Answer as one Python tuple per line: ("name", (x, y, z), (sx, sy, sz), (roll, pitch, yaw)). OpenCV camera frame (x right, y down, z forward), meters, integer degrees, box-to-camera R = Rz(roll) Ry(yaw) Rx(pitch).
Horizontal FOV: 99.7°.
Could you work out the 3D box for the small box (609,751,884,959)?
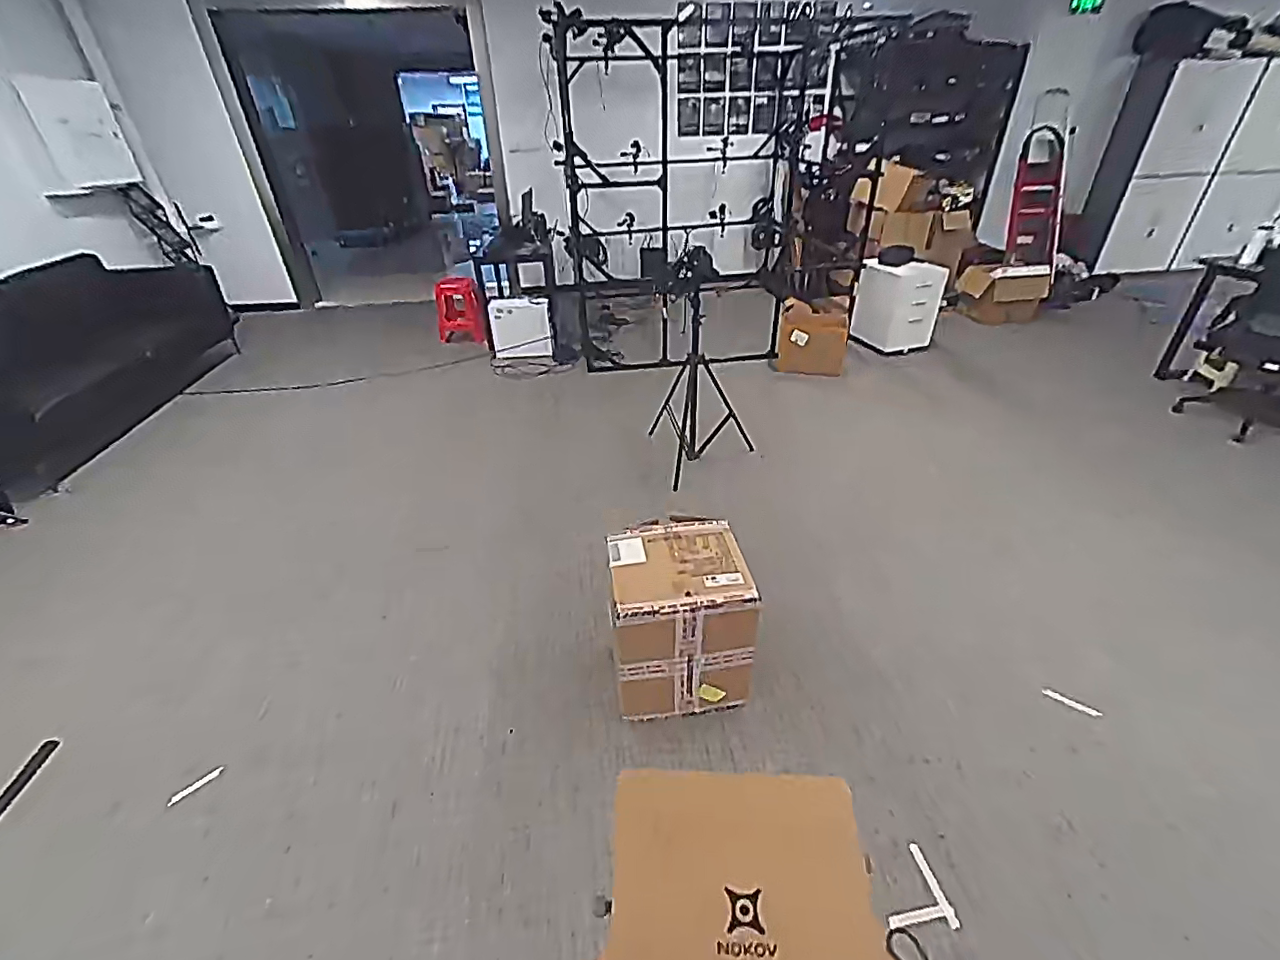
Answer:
("small box", (0.063, 0.322, 0.395), (0.168, 0.176, 0.179), (2, 46, 2))
